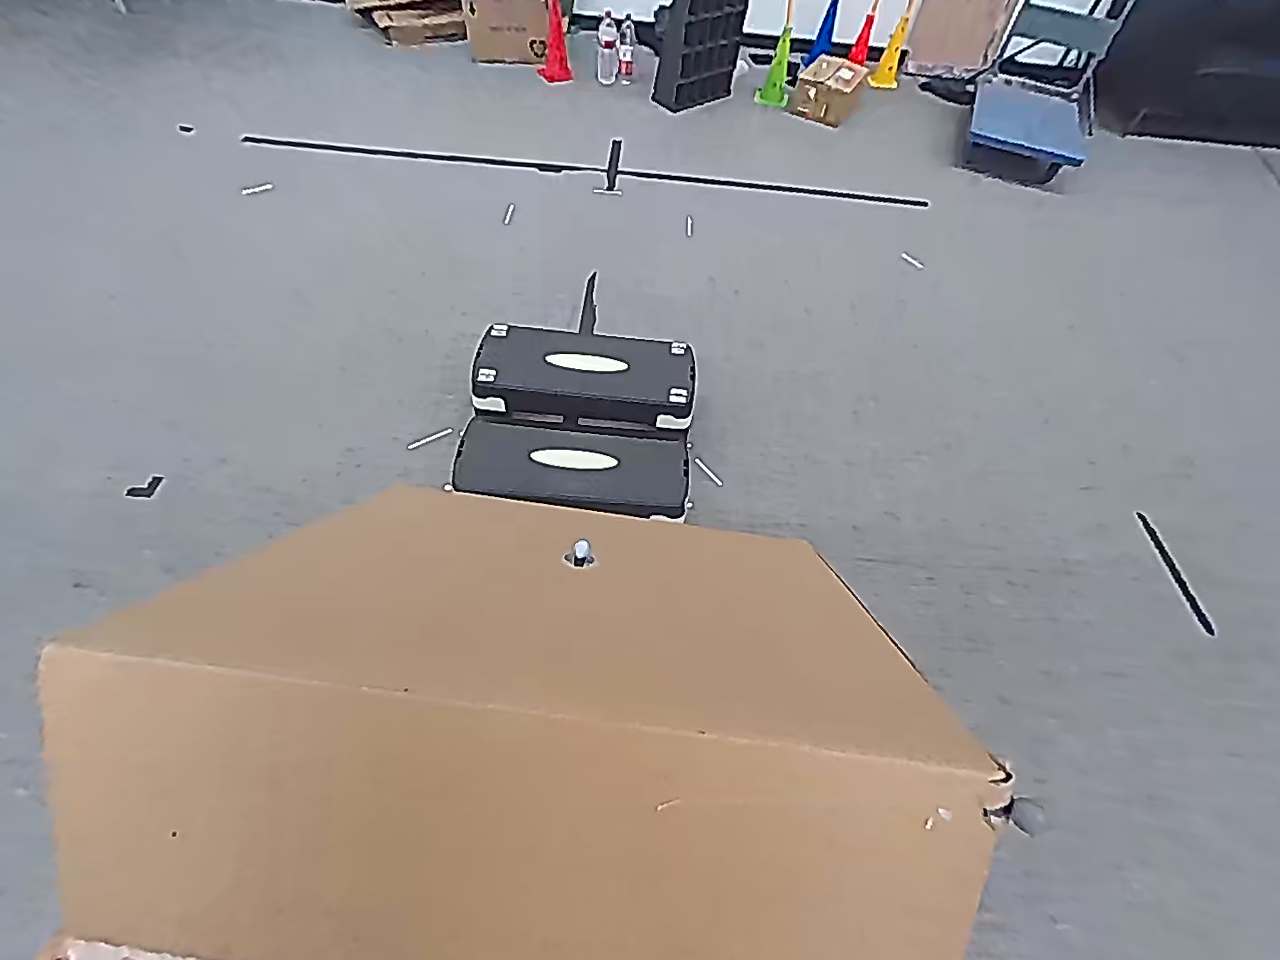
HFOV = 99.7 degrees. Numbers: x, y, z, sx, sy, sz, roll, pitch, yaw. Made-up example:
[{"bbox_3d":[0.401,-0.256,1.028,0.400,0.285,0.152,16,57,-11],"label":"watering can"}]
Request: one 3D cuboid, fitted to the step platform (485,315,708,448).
[{"bbox_3d":[-0.128,-0.312,1.701,0.684,0.204,0.286,10,55,0],"label":"step platform"}]
